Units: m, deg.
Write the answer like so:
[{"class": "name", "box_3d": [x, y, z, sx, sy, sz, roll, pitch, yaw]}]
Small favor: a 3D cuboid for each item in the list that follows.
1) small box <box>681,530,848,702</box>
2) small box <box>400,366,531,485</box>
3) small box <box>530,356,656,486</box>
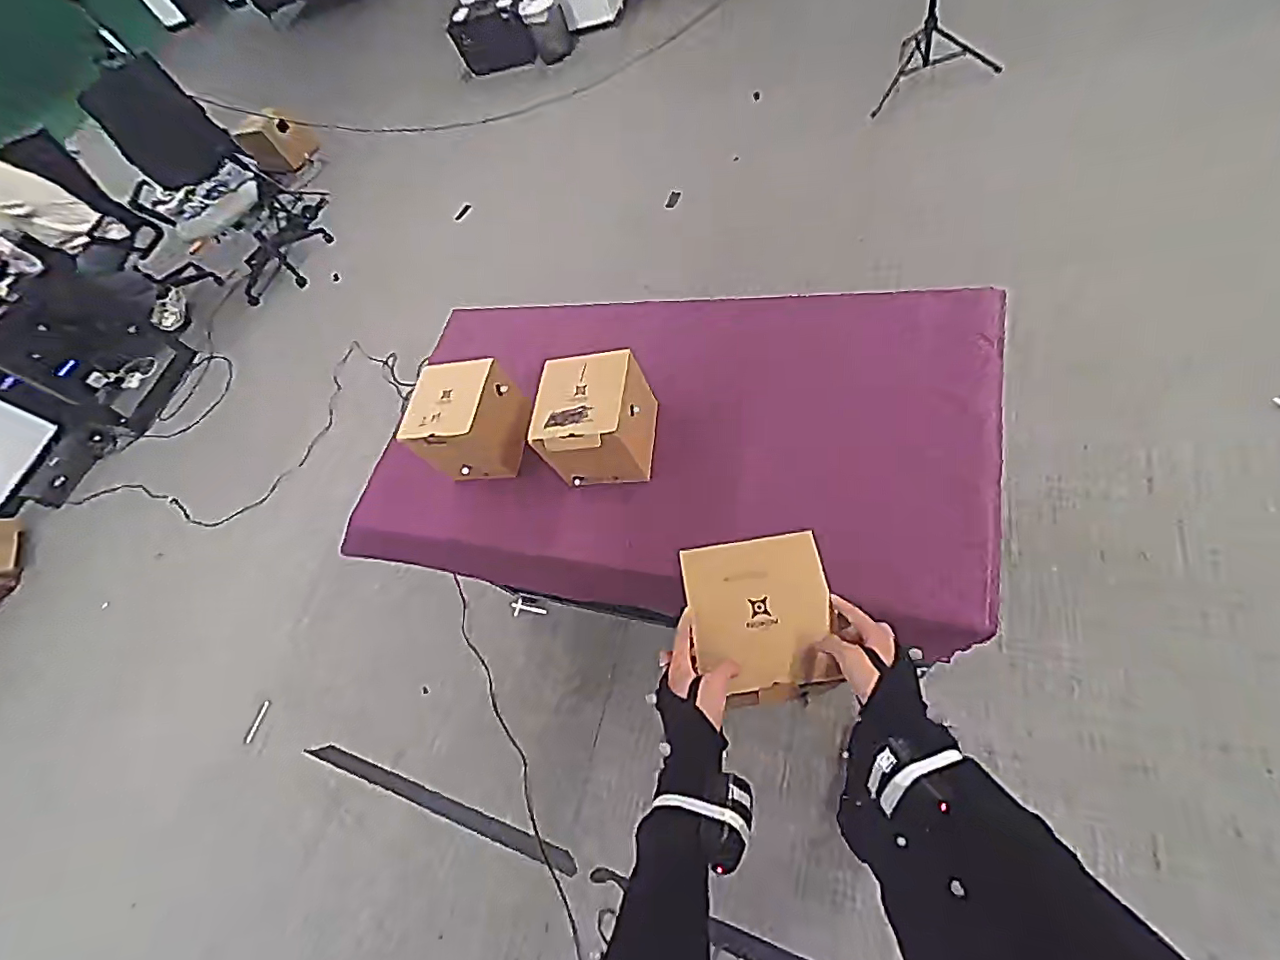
[{"class": "small box", "box_3d": [0.150, 0.184, 0.699, 0.168, 0.176, 0.179, -9, 62, 3]}, {"class": "small box", "box_3d": [-0.339, -0.104, 1.092, 0.168, 0.176, 0.179, -2, 62, 20]}, {"class": "small box", "box_3d": [-0.076, -0.097, 0.988, 0.168, 0.176, 0.179, -4, 61, 19]}]
